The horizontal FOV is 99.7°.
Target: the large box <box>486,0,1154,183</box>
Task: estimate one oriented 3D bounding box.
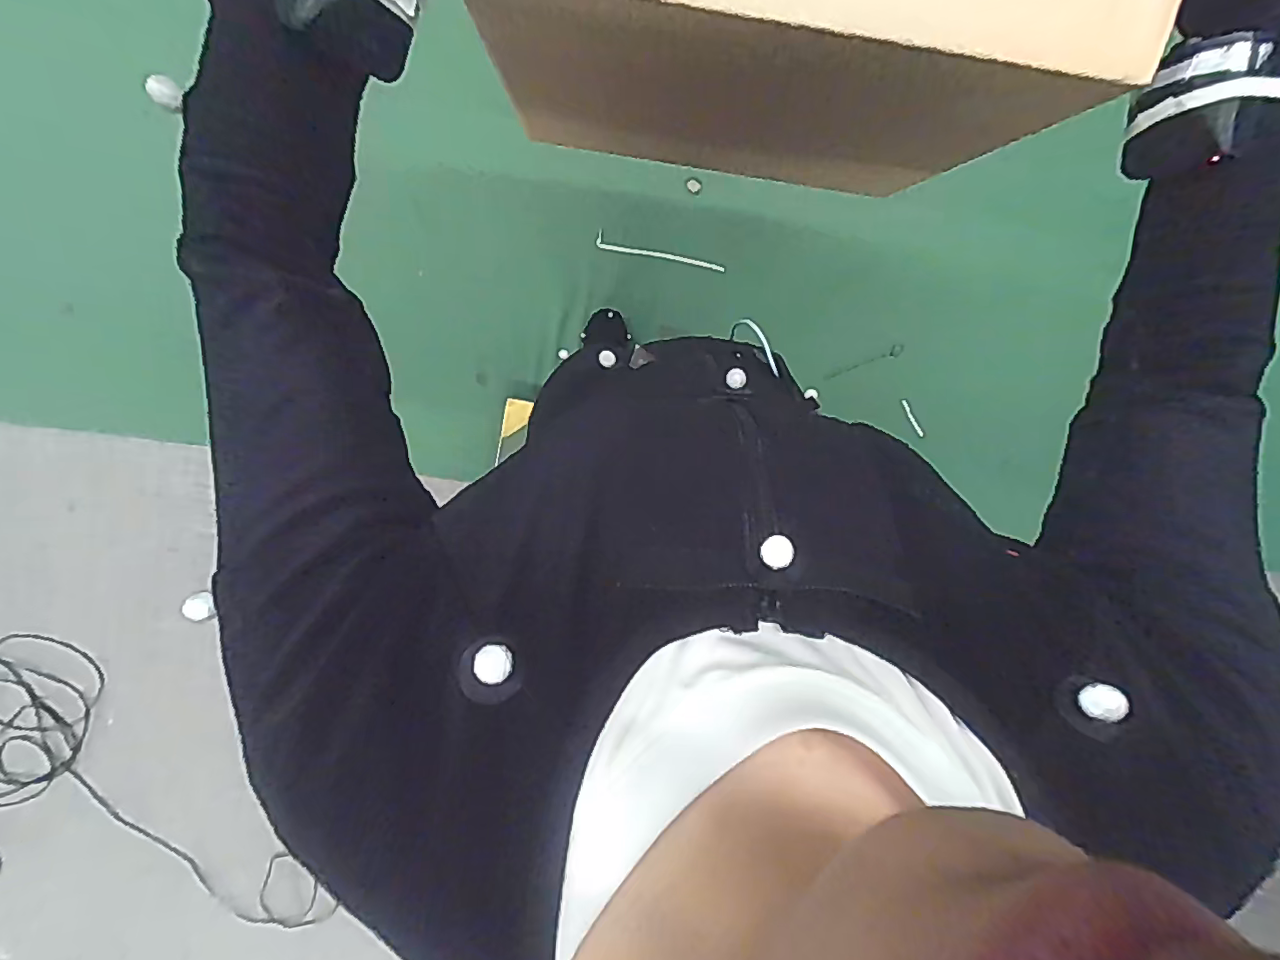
[{"bbox_3d":[0.105,-0.451,0.408,0.408,0.320,0.320,5,107,-6],"label":"large box"}]
